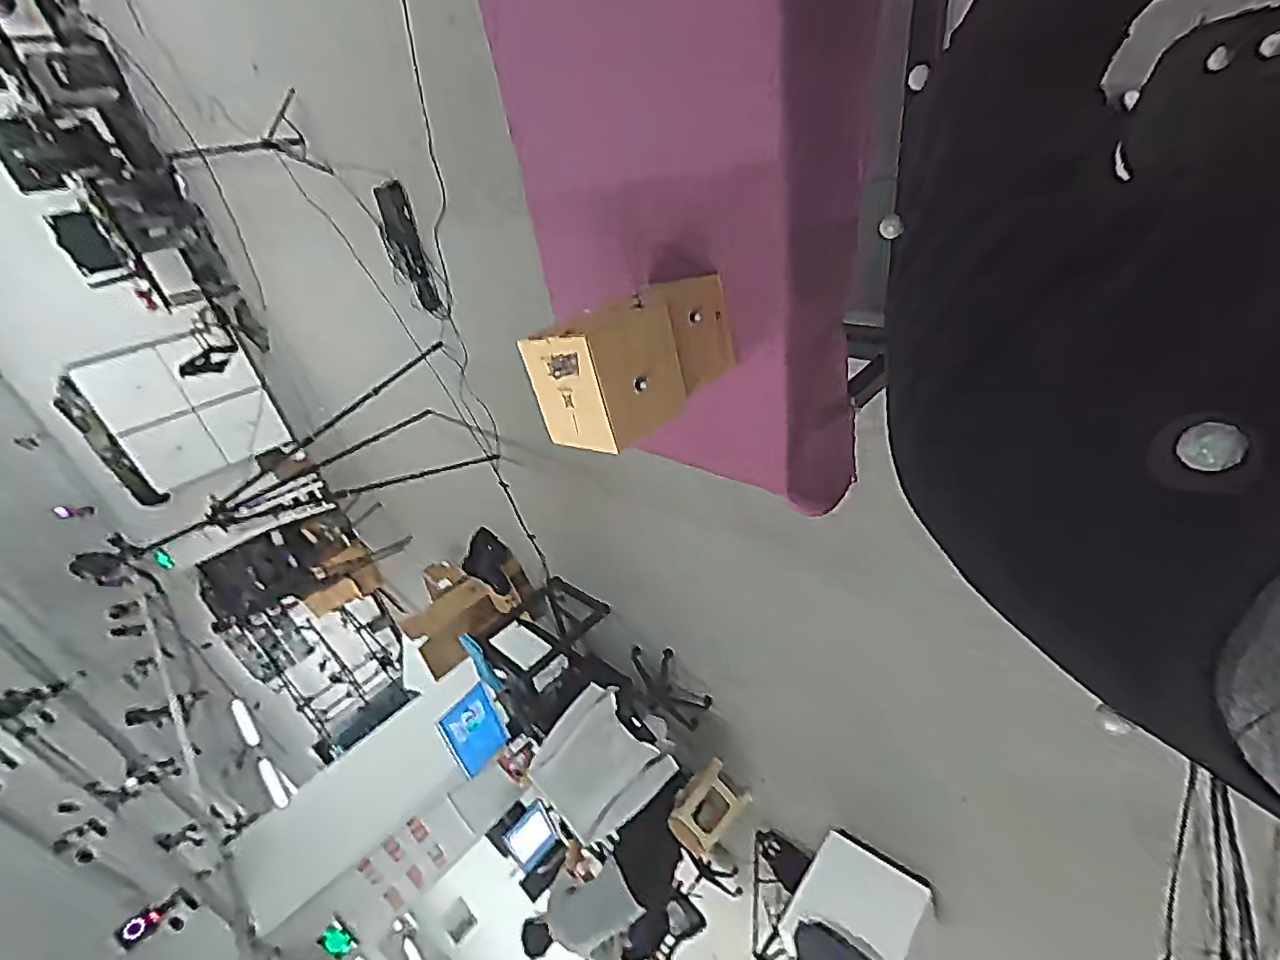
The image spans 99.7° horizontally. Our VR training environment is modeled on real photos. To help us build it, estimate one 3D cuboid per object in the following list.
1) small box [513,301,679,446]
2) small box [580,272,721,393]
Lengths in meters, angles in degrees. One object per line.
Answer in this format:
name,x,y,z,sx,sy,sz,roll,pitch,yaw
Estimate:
small box,-0.062,-0.174,0.848,0.168,0.176,0.179,13,128,44
small box,0.029,-0.260,0.957,0.179,0.176,0.168,14,128,44
